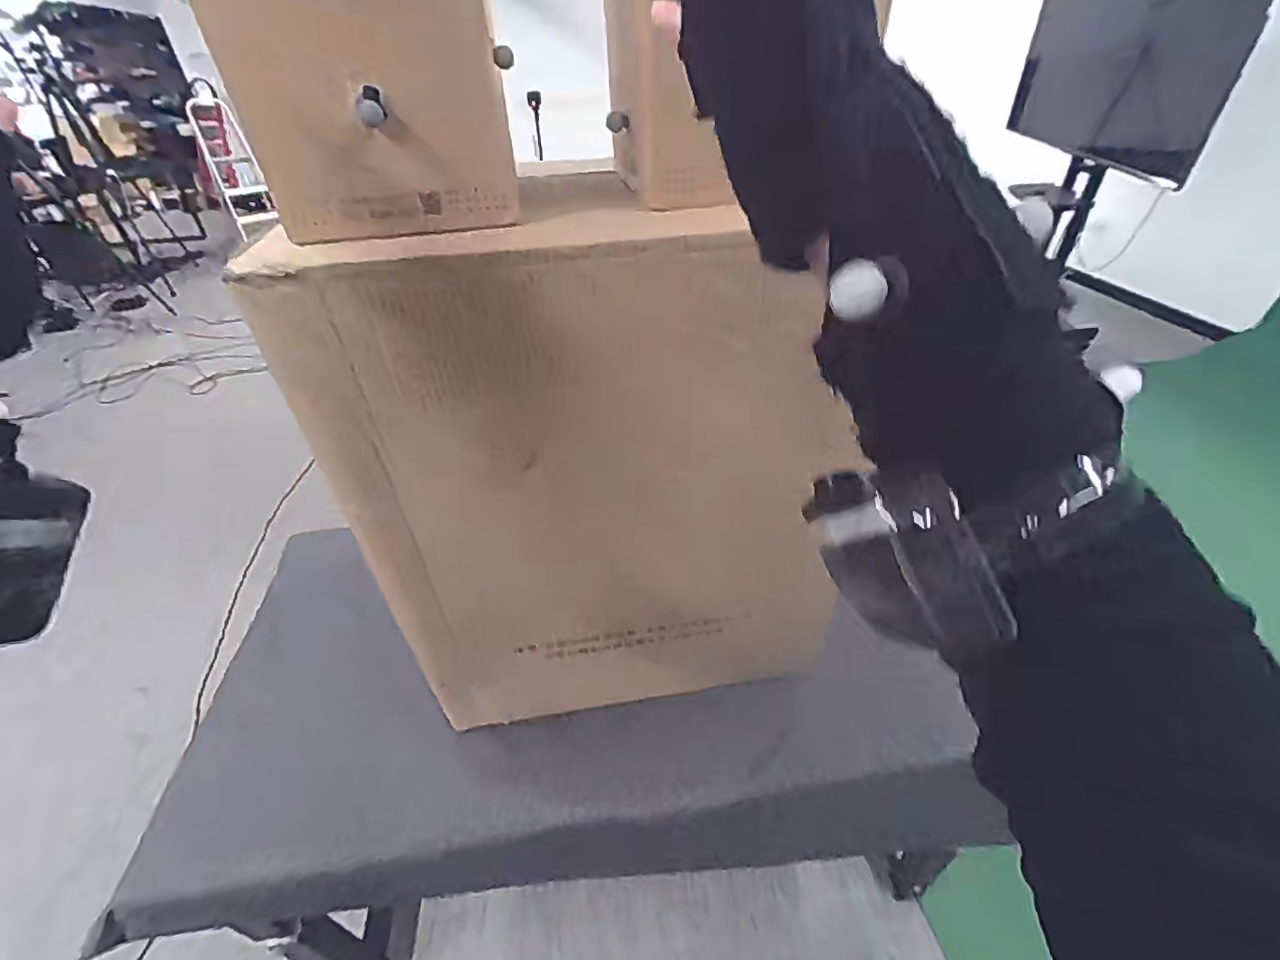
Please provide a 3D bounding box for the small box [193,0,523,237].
[{"bbox_3d":[-0.185,-0.294,0.412,0.168,0.176,0.179,-8,42,-8],"label":"small box"}]

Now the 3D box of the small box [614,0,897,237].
[{"bbox_3d":[0.076,-0.320,0.458,0.179,0.176,0.168,-9,40,-9],"label":"small box"}]
